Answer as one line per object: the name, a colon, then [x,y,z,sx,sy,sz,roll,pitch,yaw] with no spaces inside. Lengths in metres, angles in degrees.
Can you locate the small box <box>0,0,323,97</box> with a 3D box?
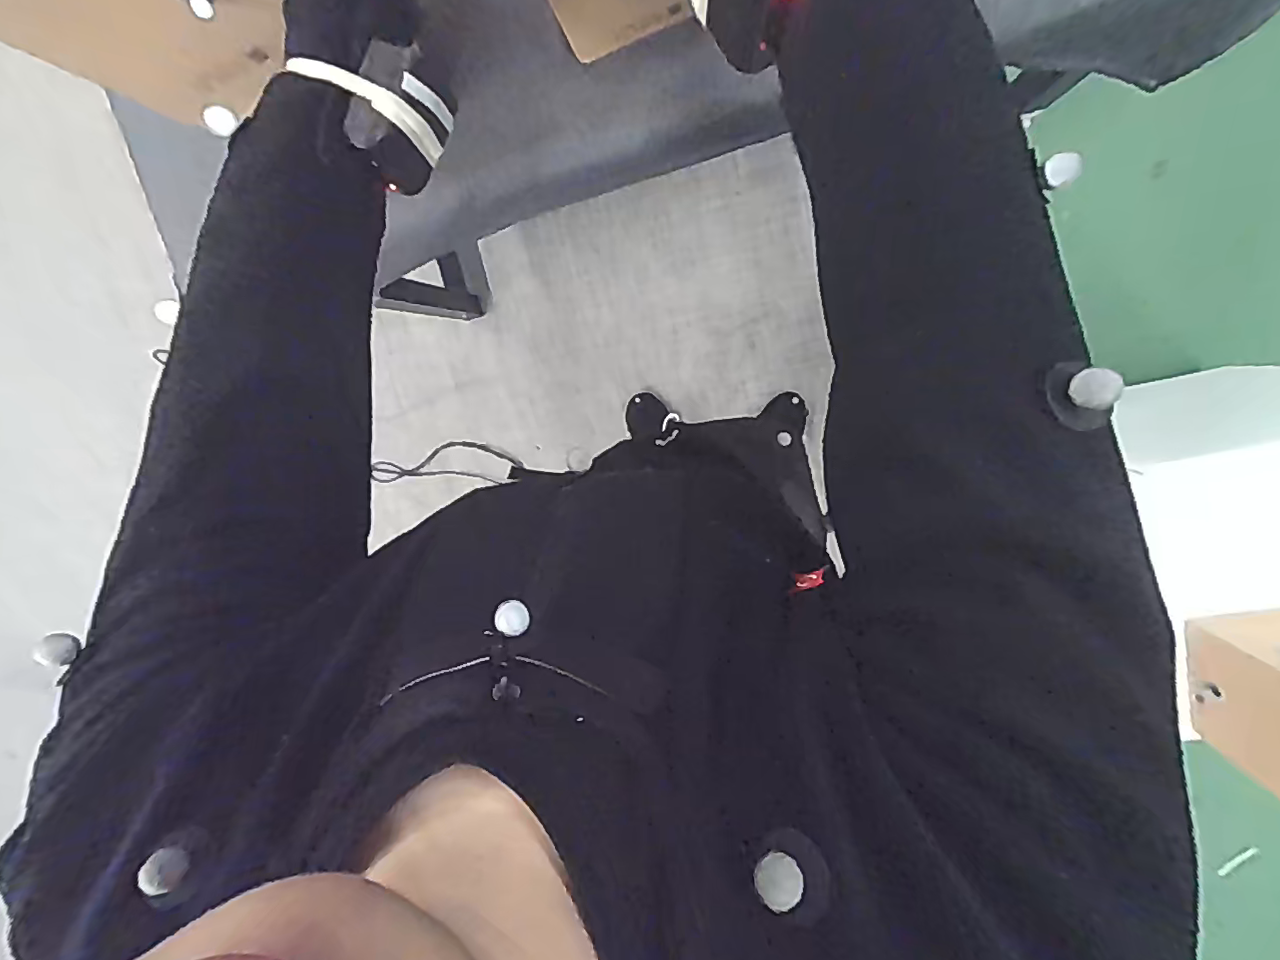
small box: [-0.354,-0.394,0.353,0.168,0.176,0.179,-18,98,11]

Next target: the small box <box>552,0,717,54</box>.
small box: [-0.023,-0.514,0.445,0.168,0.176,0.179,-15,99,12]

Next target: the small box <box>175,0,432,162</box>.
small box: [-0.329,-0.431,0.509,0.168,0.176,0.179,-17,99,12]
